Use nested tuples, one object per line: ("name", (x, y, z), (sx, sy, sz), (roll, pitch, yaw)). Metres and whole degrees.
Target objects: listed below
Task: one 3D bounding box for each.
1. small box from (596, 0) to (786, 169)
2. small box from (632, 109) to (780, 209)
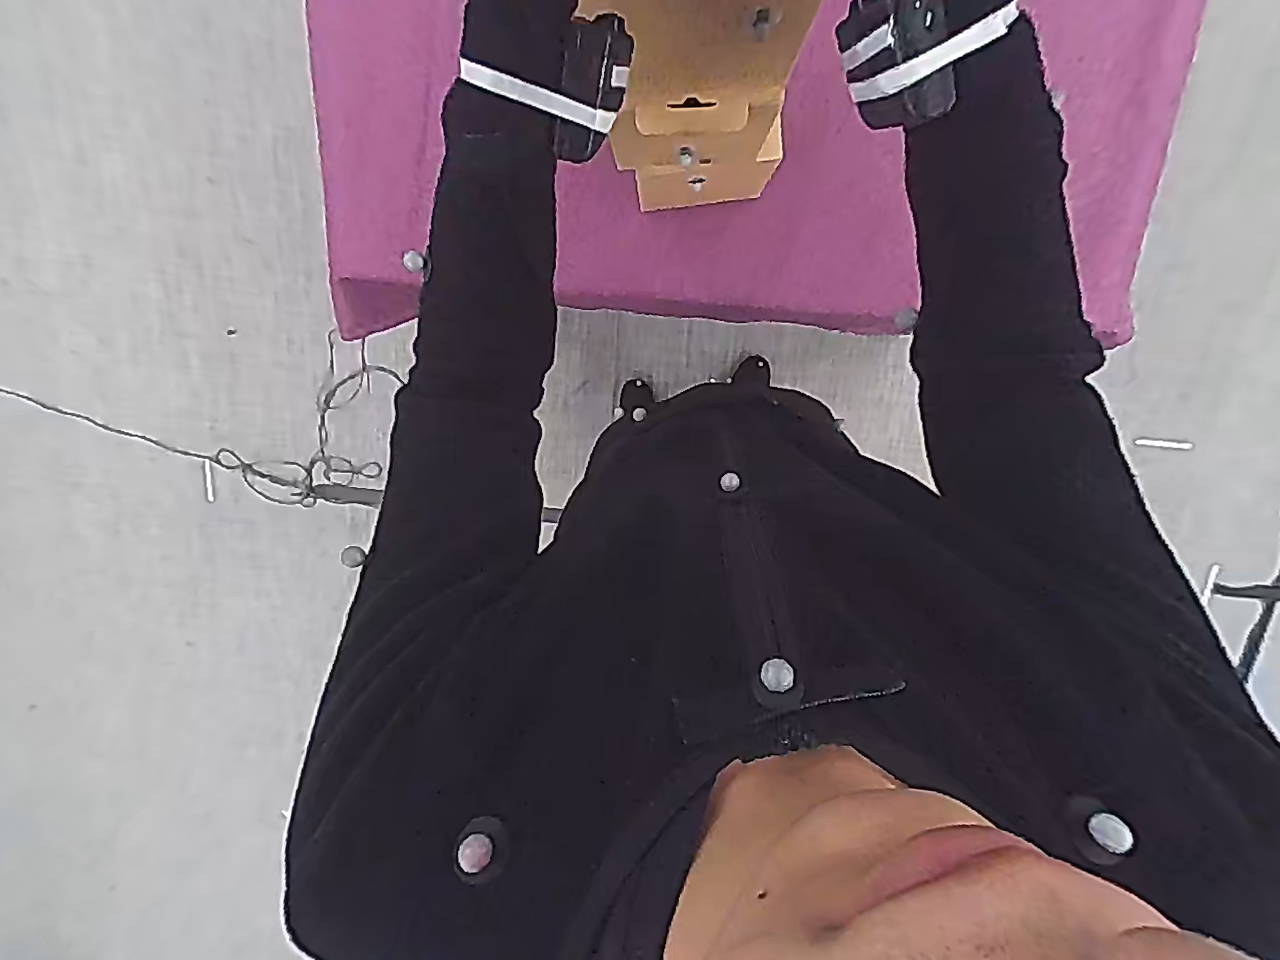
("small box", (0.046, -0.434, 0.537), (0.168, 0.176, 0.179), (0, 104, 3))
("small box", (0.073, -0.464, 0.697), (0.179, 0.176, 0.168), (-6, 103, 3))
